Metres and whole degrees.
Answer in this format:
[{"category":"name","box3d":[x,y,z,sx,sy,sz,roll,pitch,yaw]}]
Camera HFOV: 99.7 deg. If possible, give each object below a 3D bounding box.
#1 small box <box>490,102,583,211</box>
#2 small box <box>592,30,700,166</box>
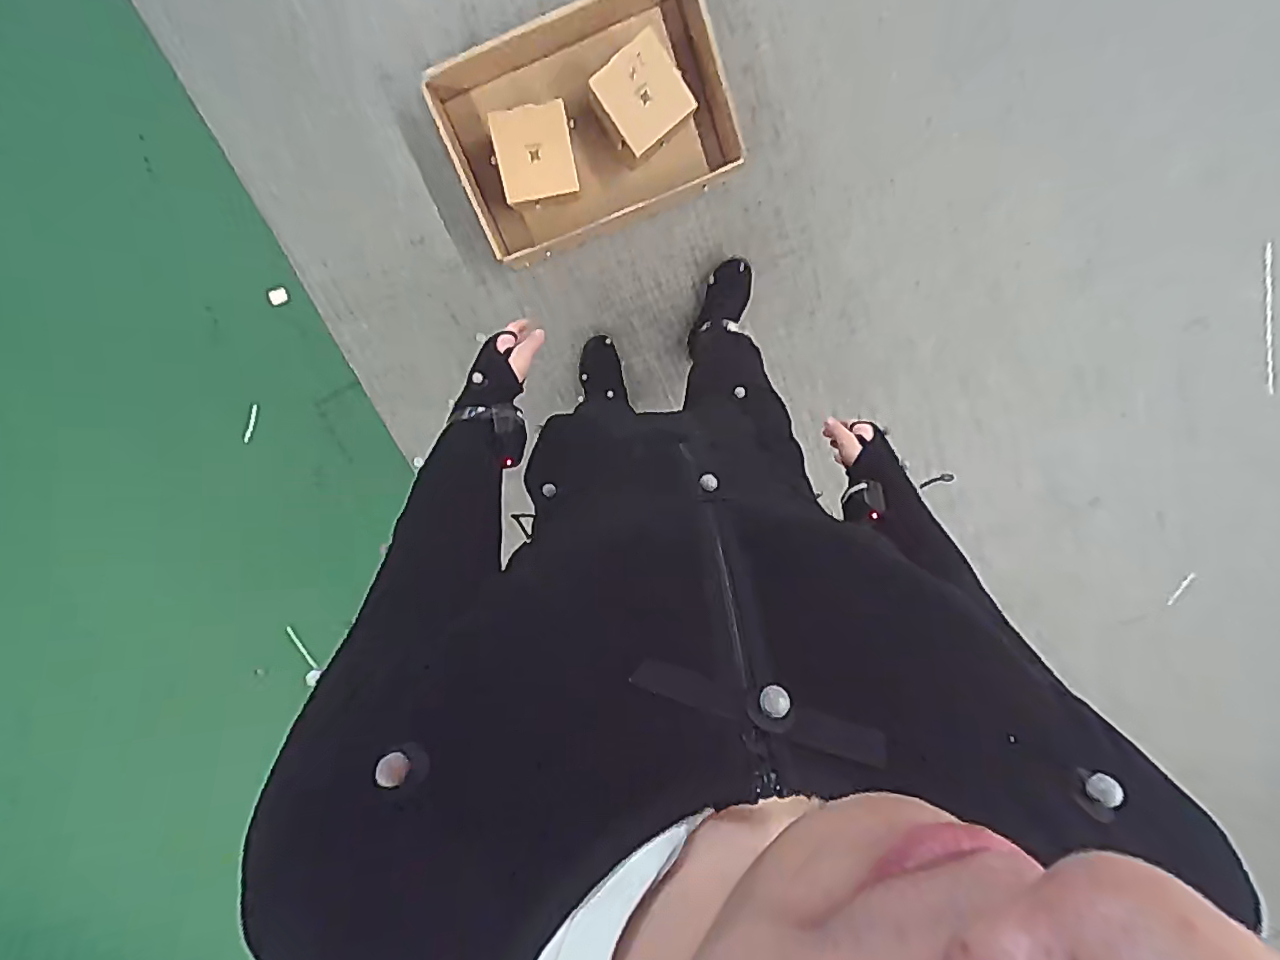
[{"category":"small box","box3d":[-0.227,-0.727,1.237,0.168,0.176,0.179,-11,108,0]},{"category":"small box","box3d":[0.011,-0.836,1.211,0.168,0.176,0.179,-36,108,9]}]
